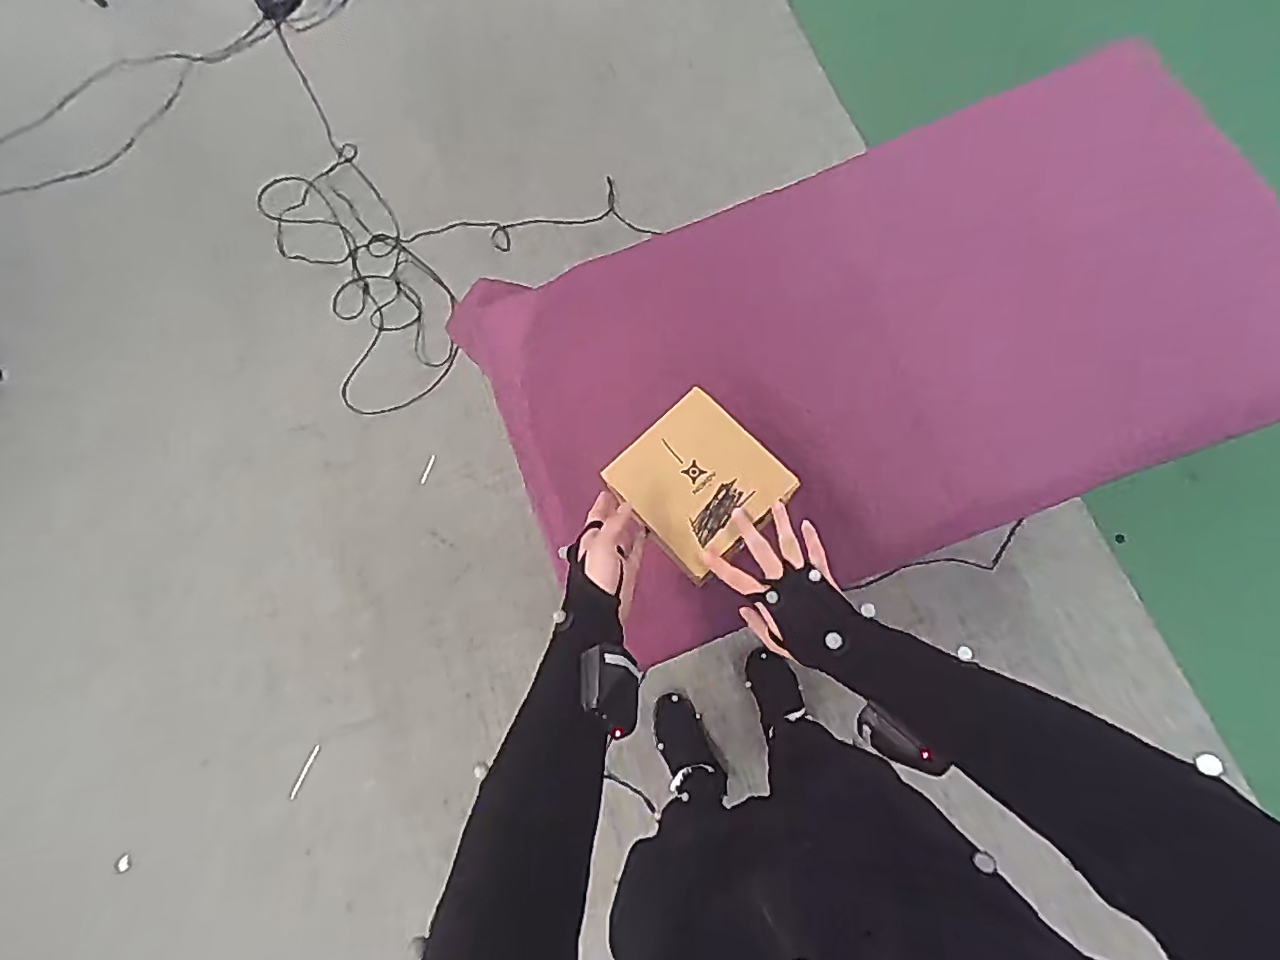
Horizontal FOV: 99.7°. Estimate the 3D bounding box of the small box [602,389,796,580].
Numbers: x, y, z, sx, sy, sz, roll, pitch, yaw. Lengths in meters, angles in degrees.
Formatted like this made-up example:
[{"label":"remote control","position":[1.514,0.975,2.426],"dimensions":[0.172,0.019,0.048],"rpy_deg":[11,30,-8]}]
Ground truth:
[{"label":"small box","position":[0.078,0.017,0.720],"dimensions":[0.168,0.176,0.179],"rpy_deg":[-42,74,-5]}]
